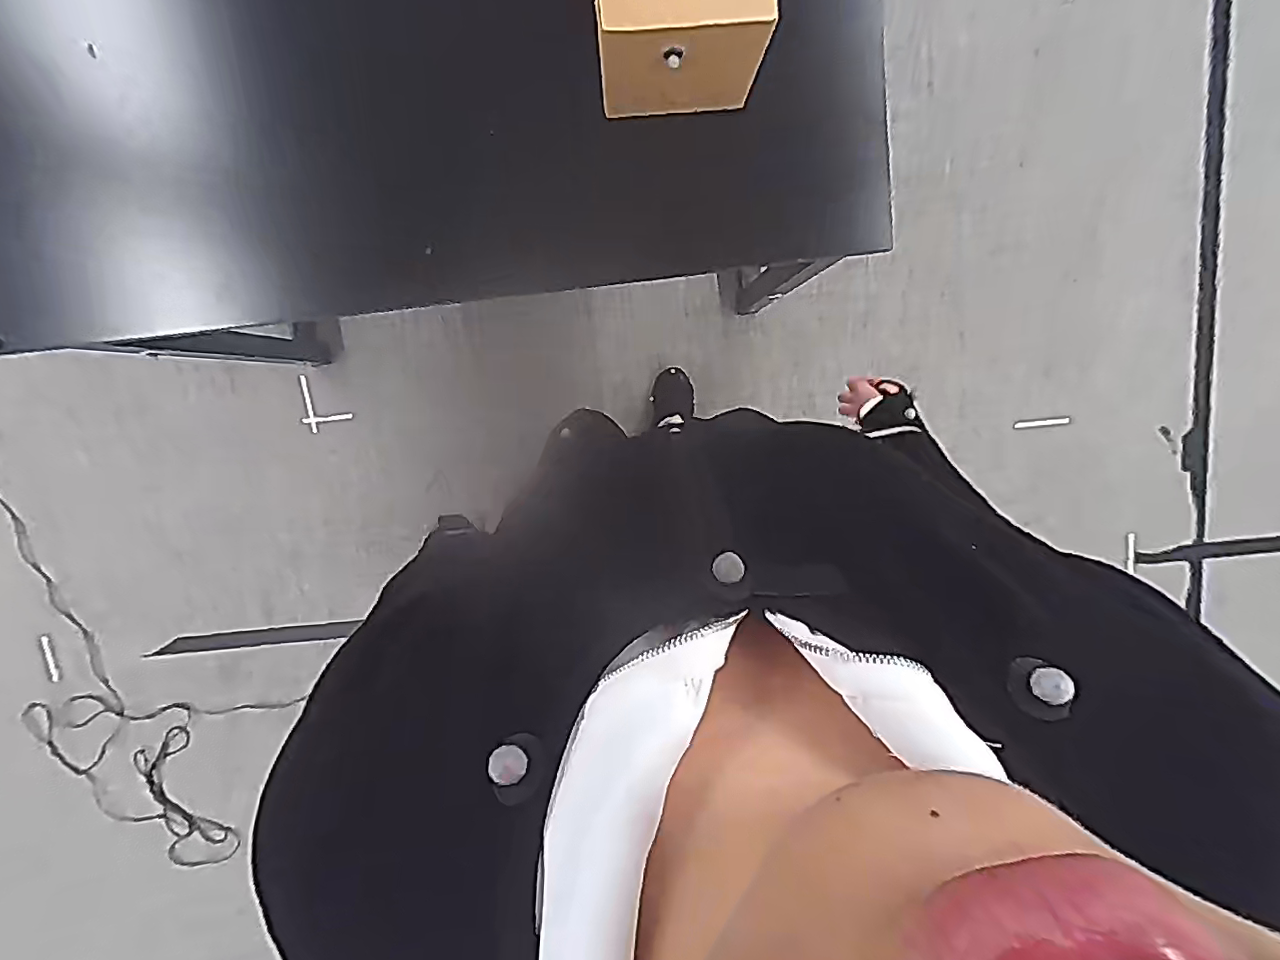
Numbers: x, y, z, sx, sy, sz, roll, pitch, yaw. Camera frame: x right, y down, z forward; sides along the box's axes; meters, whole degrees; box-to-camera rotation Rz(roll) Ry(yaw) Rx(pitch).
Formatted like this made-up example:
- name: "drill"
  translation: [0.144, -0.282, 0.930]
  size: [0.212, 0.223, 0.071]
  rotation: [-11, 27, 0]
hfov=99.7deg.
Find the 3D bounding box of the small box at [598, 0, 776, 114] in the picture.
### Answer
- name: "small box"
  translation: [0.042, -0.537, 0.602]
  size: [0.179, 0.176, 0.168]
  rotation: [-5, 99, -1]
